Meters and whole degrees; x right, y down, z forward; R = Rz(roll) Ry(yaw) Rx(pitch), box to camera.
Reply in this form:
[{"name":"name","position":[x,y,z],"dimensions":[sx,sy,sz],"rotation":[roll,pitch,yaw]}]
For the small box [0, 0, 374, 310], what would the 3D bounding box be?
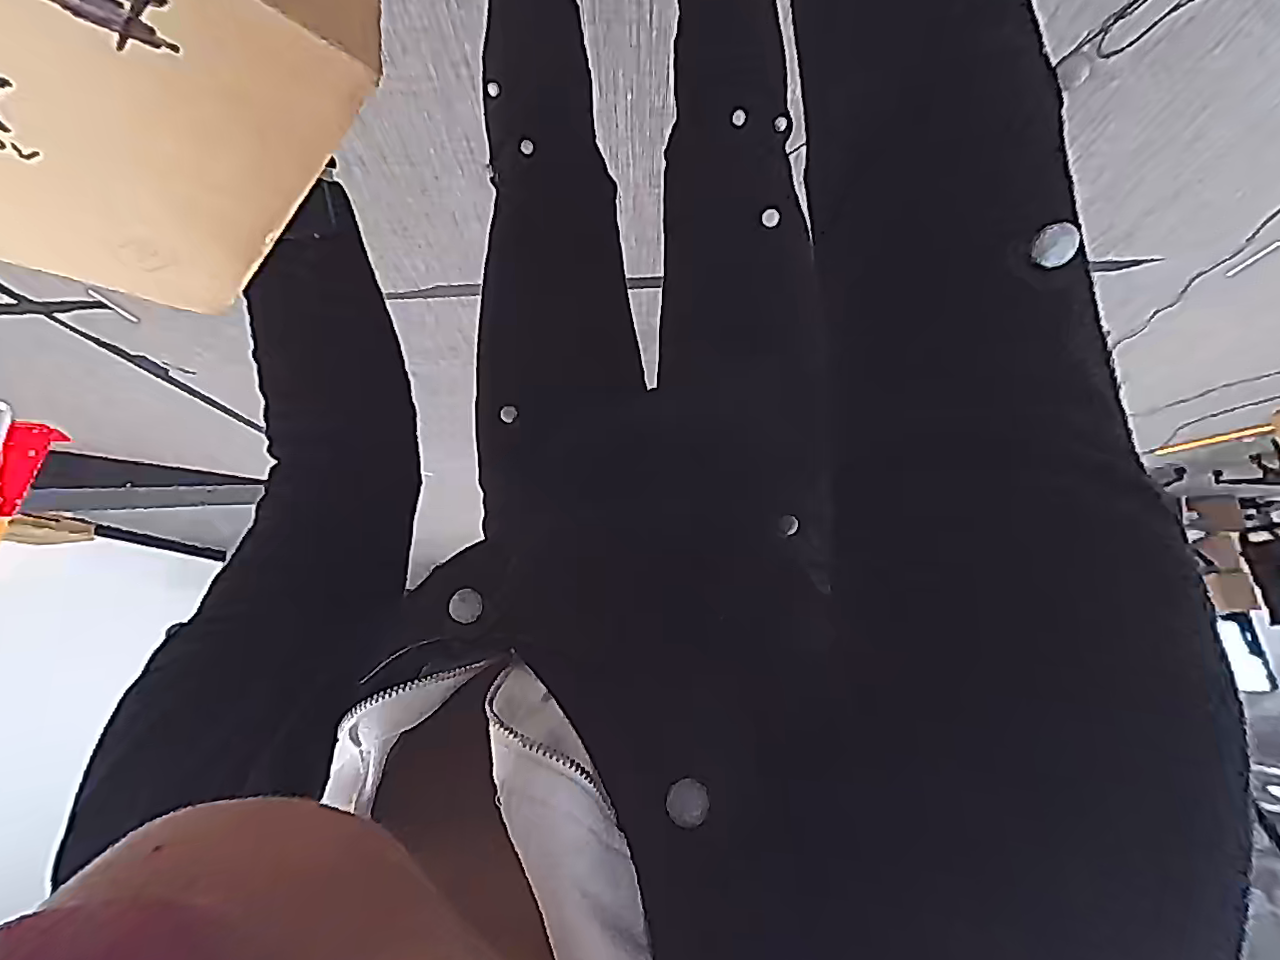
[{"name":"small box","position":[-0.196,-0.183,0.158],"dimensions":[0.179,0.176,0.168],"rotation":[-14,167,38]}]
